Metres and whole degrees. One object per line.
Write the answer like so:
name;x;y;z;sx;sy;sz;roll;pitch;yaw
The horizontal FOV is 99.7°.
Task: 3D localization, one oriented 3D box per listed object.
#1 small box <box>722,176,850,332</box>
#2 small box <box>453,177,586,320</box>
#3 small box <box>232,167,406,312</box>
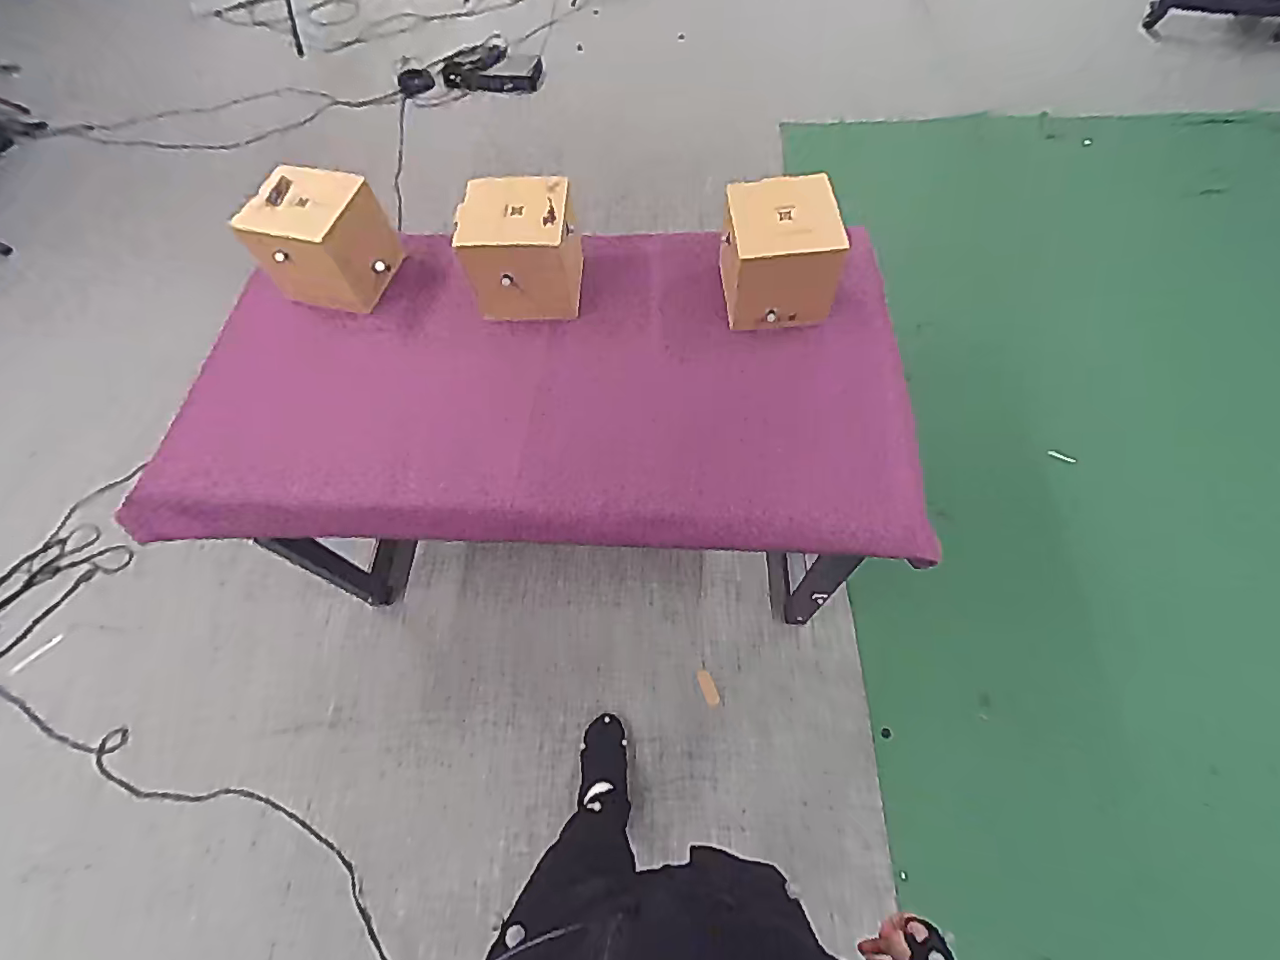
small box;0.233;-0.375;0.911;0.168;0.176;0.179;-4;64;3
small box;-0.199;-0.397;0.945;0.179;0.176;0.168;0;64;4
small box;-0.566;-0.429;0.980;0.179;0.176;0.168;12;65;8
